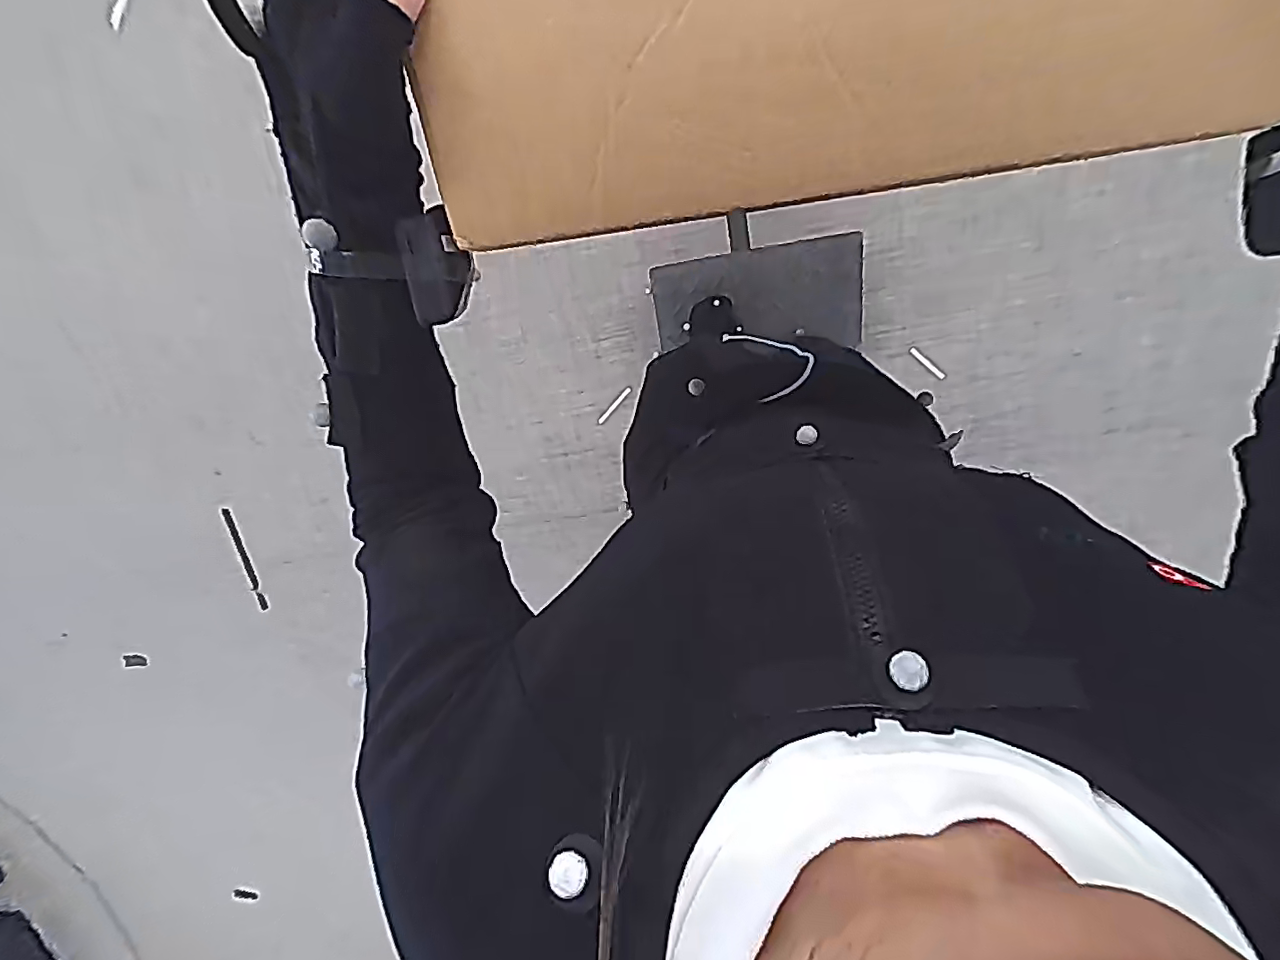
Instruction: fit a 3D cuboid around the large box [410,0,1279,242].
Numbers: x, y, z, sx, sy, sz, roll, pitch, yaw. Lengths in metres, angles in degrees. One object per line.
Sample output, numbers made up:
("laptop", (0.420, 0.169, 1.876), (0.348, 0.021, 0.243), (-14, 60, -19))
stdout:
("large box", (0.088, -0.357, 0.346), (0.408, 0.320, 0.320), (-5, 117, 8))
